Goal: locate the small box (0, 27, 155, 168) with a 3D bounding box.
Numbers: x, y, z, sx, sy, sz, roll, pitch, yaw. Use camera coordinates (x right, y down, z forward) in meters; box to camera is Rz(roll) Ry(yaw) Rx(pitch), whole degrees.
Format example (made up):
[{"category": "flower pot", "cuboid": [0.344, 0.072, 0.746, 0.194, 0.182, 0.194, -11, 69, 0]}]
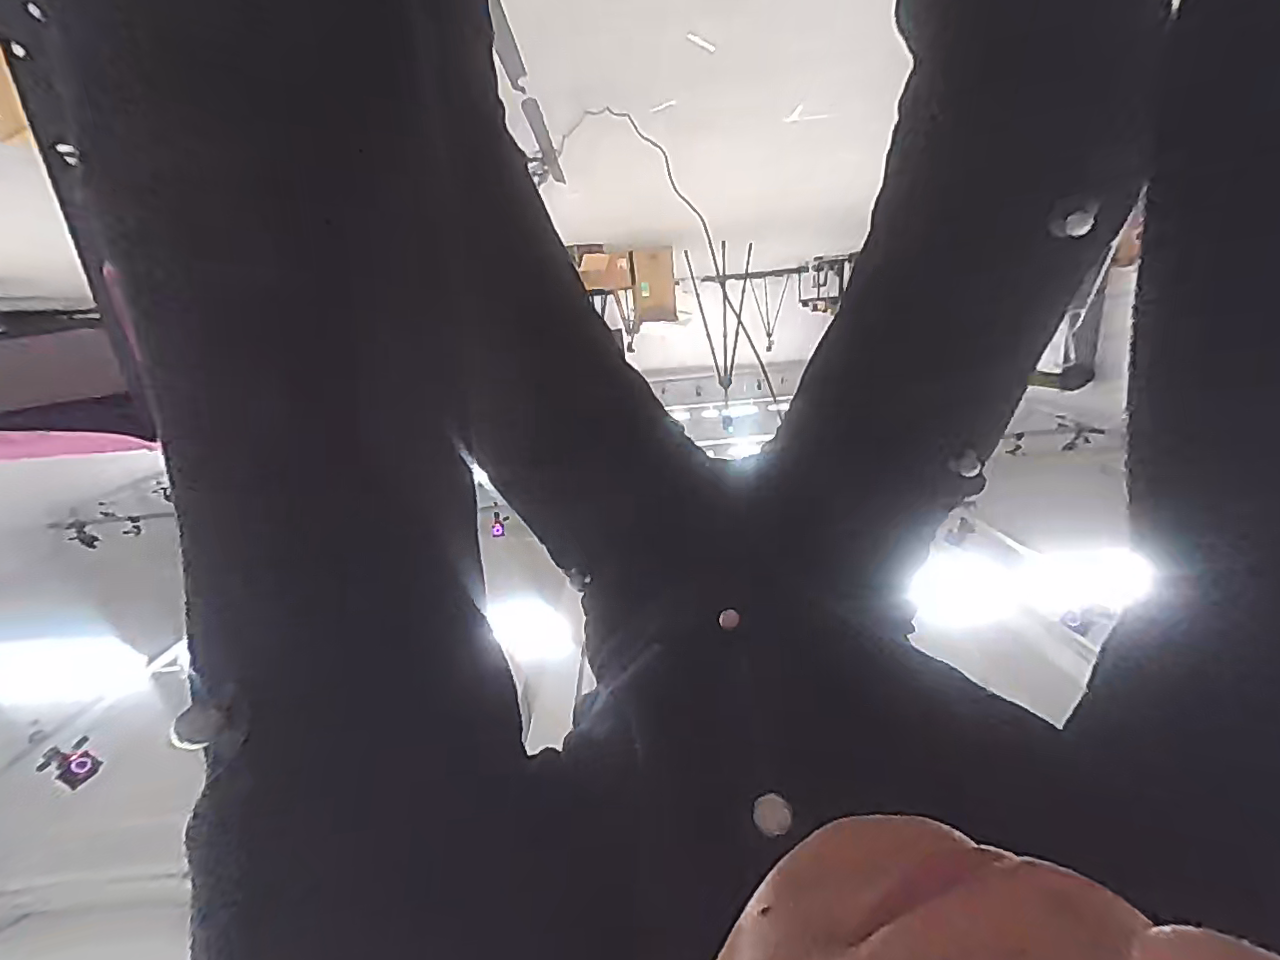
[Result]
[{"category": "small box", "cuboid": [-1.107, -0.732, 1.053, 0.179, 0.176, 0.168, 4, -160, 28]}]
